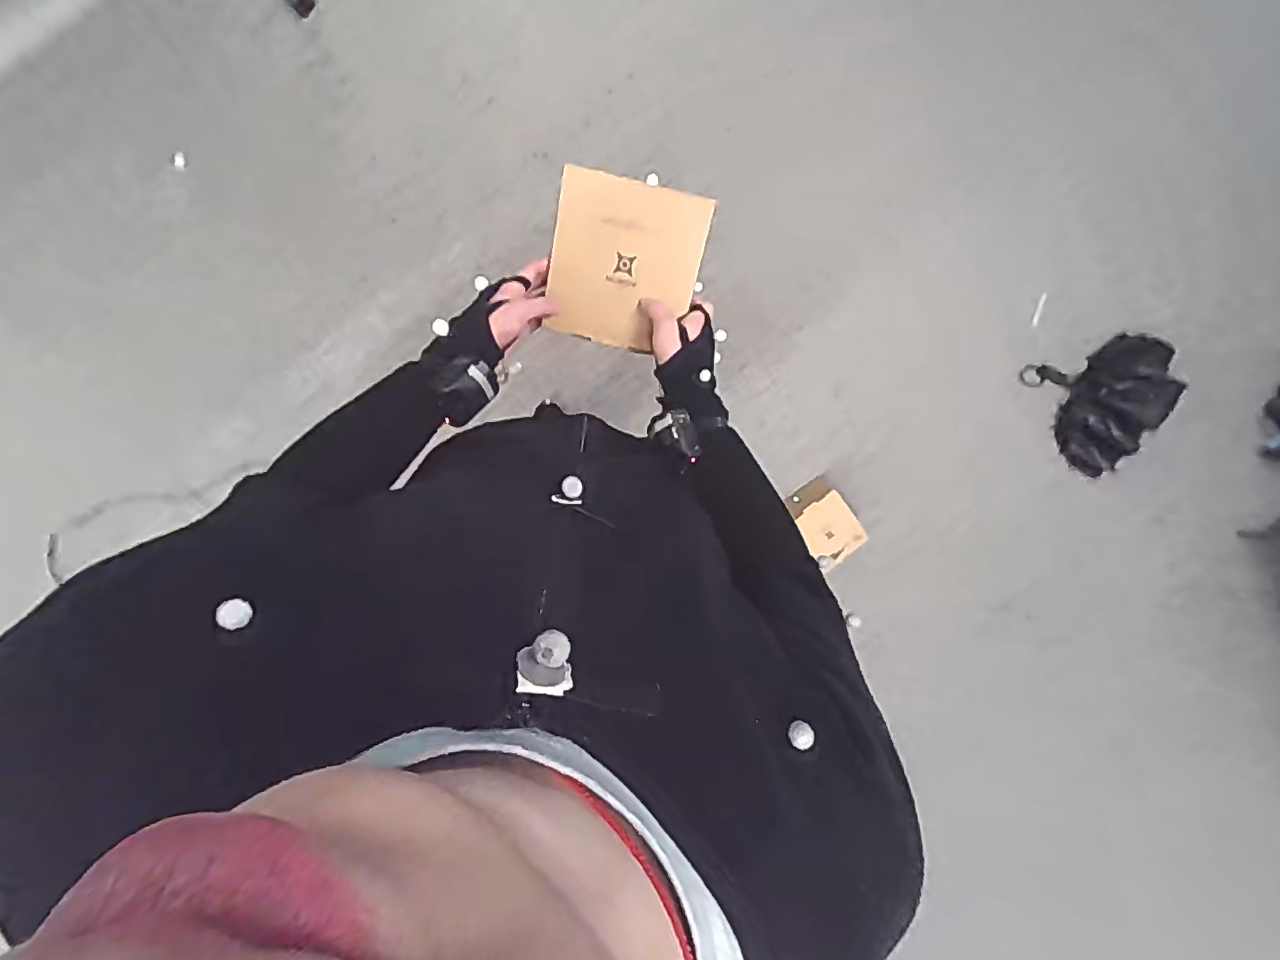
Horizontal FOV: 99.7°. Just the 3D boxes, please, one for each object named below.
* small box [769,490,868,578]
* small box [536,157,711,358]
[{"bbox_3d":[0.491,0.142,1.513,0.168,0.176,0.179,-37,98,0],"label":"small box"},{"bbox_3d":[-0.022,-0.267,0.658,0.168,0.176,0.179,11,114,-6],"label":"small box"}]
